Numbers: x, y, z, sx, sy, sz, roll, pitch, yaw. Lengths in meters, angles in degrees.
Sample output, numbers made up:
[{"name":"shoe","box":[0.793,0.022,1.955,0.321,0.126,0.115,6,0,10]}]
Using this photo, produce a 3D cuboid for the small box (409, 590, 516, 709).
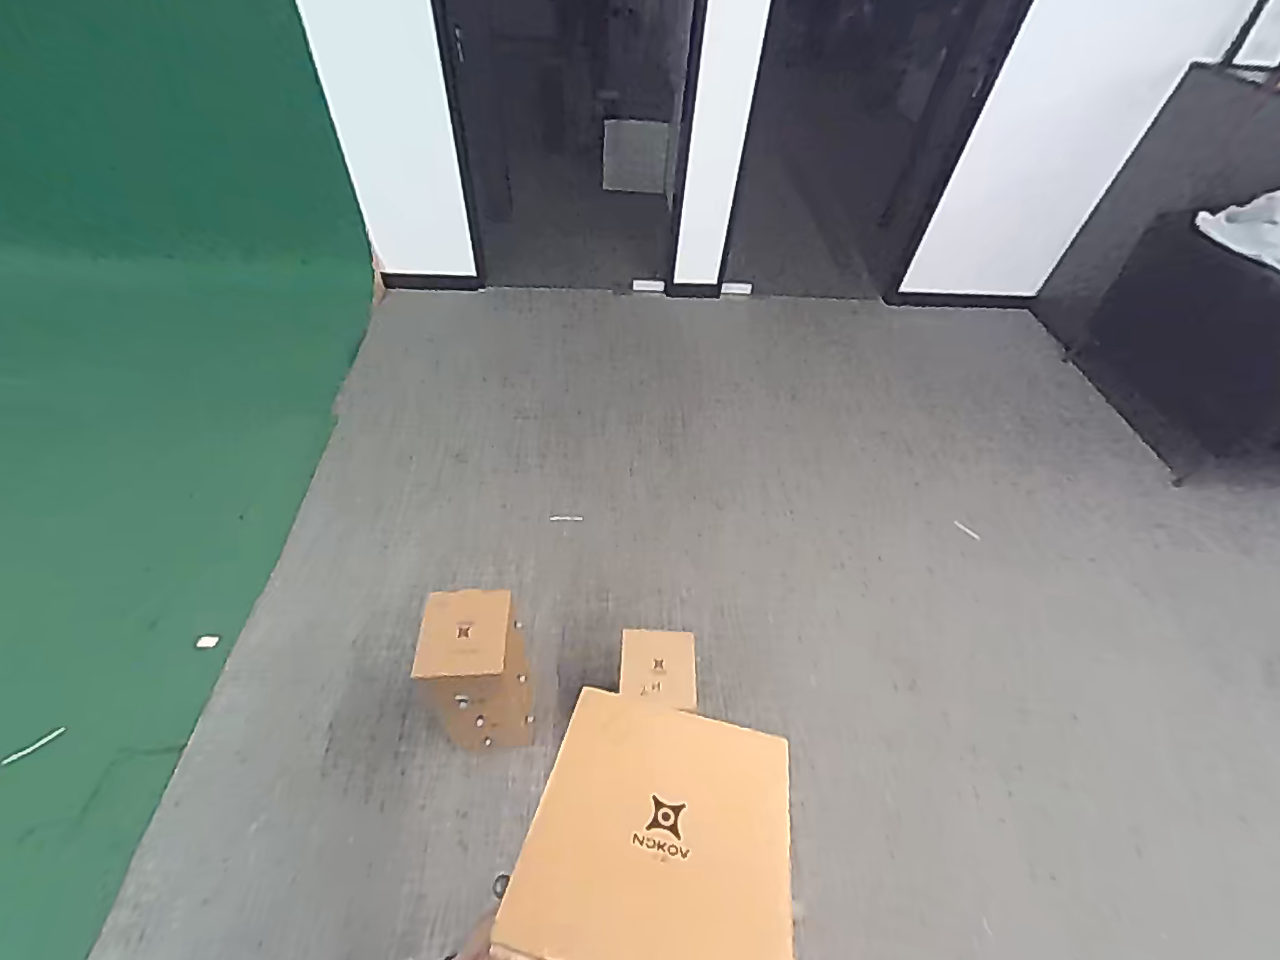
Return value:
[{"name":"small box","box":[-0.344,0.341,1.088,0.168,0.176,0.179,-2,50,-5]}]

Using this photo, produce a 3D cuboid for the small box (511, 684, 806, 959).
[{"name":"small box","box":[0.013,0.290,0.394,0.168,0.176,0.179,12,31,6]}]

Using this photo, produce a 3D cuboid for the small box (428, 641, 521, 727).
[{"name":"small box","box":[-0.360,0.444,1.213,0.168,0.176,0.179,-1,50,-7]}]

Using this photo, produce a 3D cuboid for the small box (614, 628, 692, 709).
[{"name":"small box","box":[0.025,0.461,1.239,0.168,0.176,0.179,4,49,-2]}]
